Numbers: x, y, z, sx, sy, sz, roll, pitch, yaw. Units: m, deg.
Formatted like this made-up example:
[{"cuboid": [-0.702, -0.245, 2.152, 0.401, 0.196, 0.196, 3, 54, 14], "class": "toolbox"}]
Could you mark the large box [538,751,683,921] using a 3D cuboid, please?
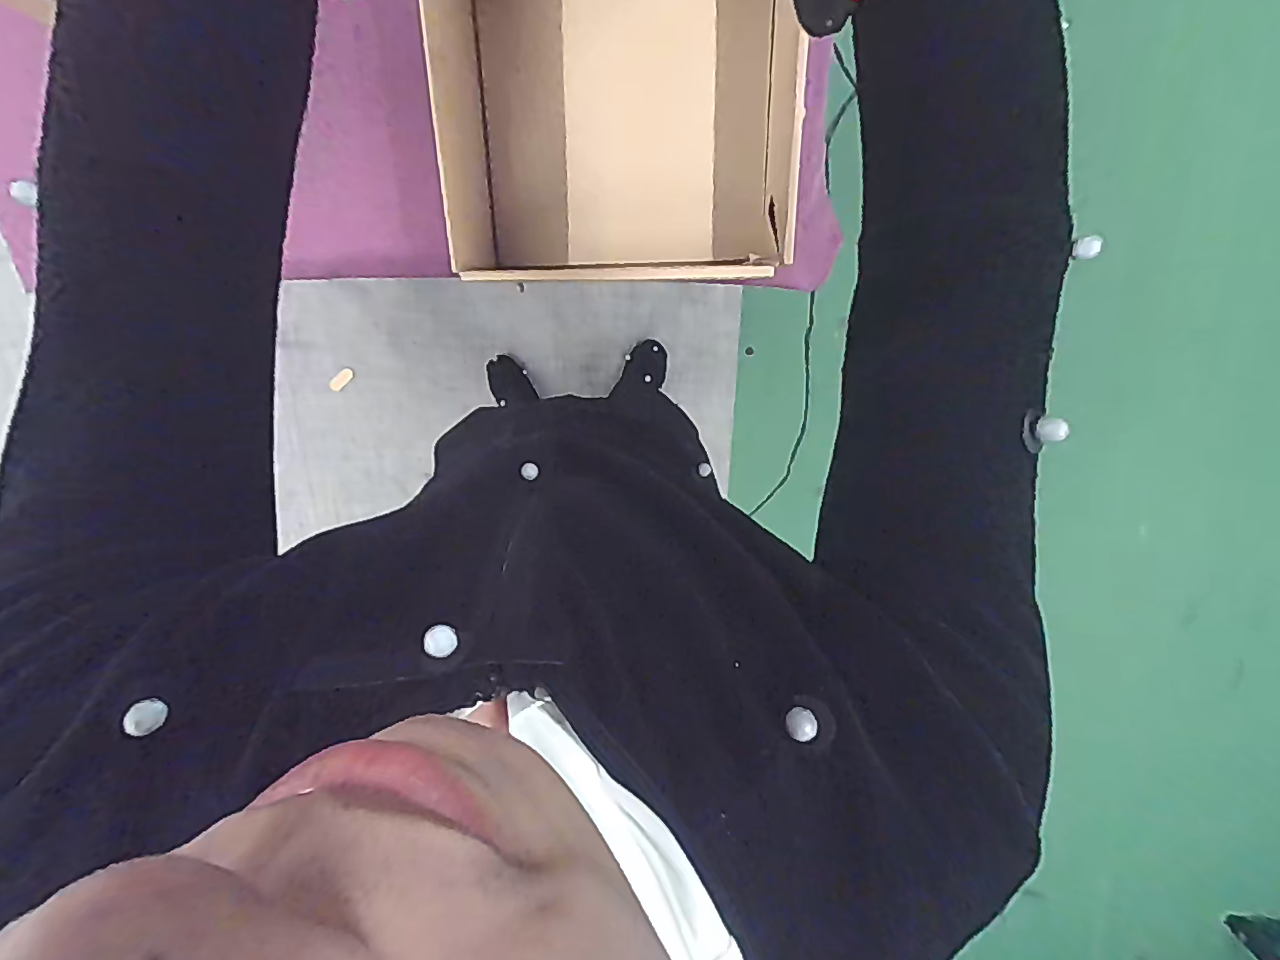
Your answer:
[{"cuboid": [-0.094, 1.273, 1.952, 0.408, 0.320, 0.320, -31, 105, 11], "class": "large box"}]
